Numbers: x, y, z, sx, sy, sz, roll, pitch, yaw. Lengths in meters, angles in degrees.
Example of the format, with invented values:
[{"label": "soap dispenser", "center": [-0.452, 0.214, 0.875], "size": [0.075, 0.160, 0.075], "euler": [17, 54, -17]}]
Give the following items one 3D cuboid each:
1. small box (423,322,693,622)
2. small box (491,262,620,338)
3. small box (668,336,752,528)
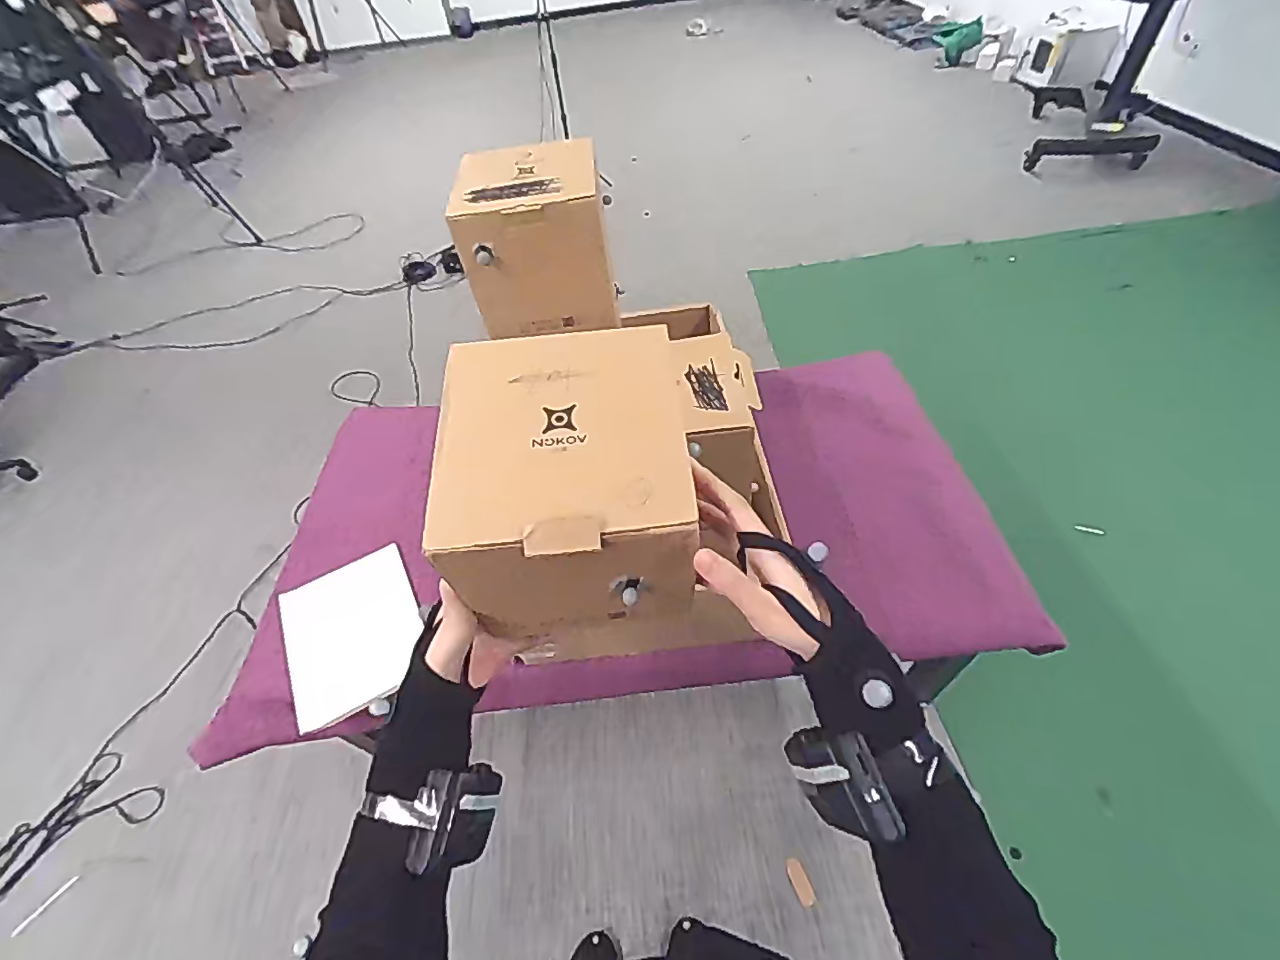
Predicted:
[{"label": "small box", "center": [-0.051, 0.004, 0.429], "size": [0.168, 0.176, 0.179], "euler": [-5, 56, -1]}, {"label": "small box", "center": [-0.113, -0.202, 0.824], "size": [0.168, 0.176, 0.179], "euler": [-6, 50, 3]}, {"label": "small box", "center": [0.035, -0.051, 0.666], "size": [0.179, 0.176, 0.168], "euler": [-7, 48, 5]}]
